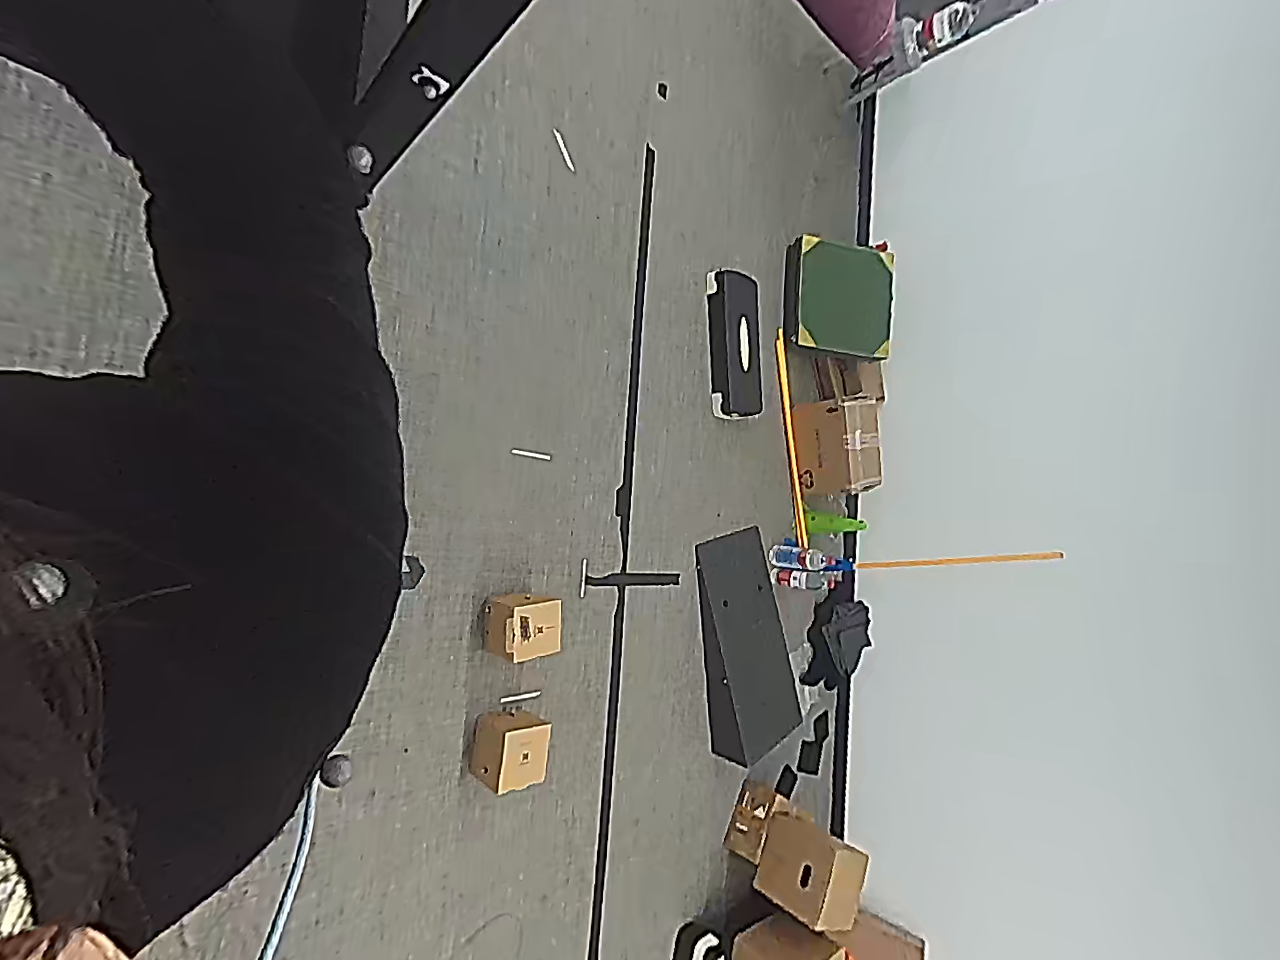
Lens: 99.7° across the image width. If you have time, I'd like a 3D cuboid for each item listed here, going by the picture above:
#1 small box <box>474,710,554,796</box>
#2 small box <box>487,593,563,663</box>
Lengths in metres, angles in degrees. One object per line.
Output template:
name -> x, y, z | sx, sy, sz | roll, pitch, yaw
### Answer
small box -> -0.389, 0.827, 1.654 | 0.168, 0.176, 0.179 | 13, 81, -44
small box -> -0.360, 0.453, 1.679 | 0.179, 0.176, 0.168 | 1, 90, -45
